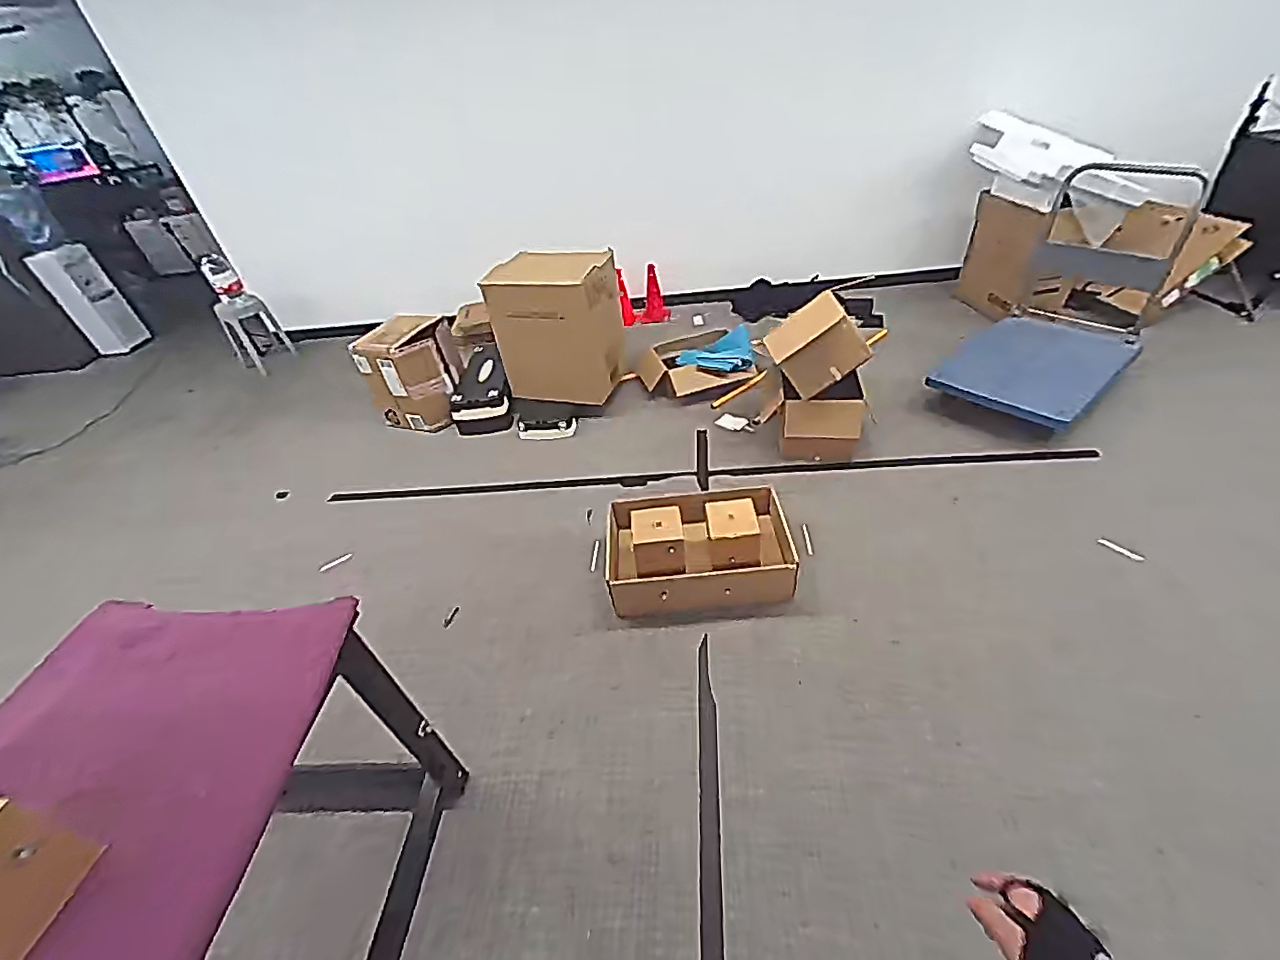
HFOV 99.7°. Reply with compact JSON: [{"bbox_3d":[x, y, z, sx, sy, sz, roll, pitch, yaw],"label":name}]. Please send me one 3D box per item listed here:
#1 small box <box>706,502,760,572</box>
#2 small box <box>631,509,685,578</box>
[{"bbox_3d":[0.322,0.200,1.897,0.168,0.176,0.179,-7,39,4],"label":"small box"},{"bbox_3d":[0.064,0.226,1.909,0.179,0.176,0.168,-7,38,1],"label":"small box"}]
